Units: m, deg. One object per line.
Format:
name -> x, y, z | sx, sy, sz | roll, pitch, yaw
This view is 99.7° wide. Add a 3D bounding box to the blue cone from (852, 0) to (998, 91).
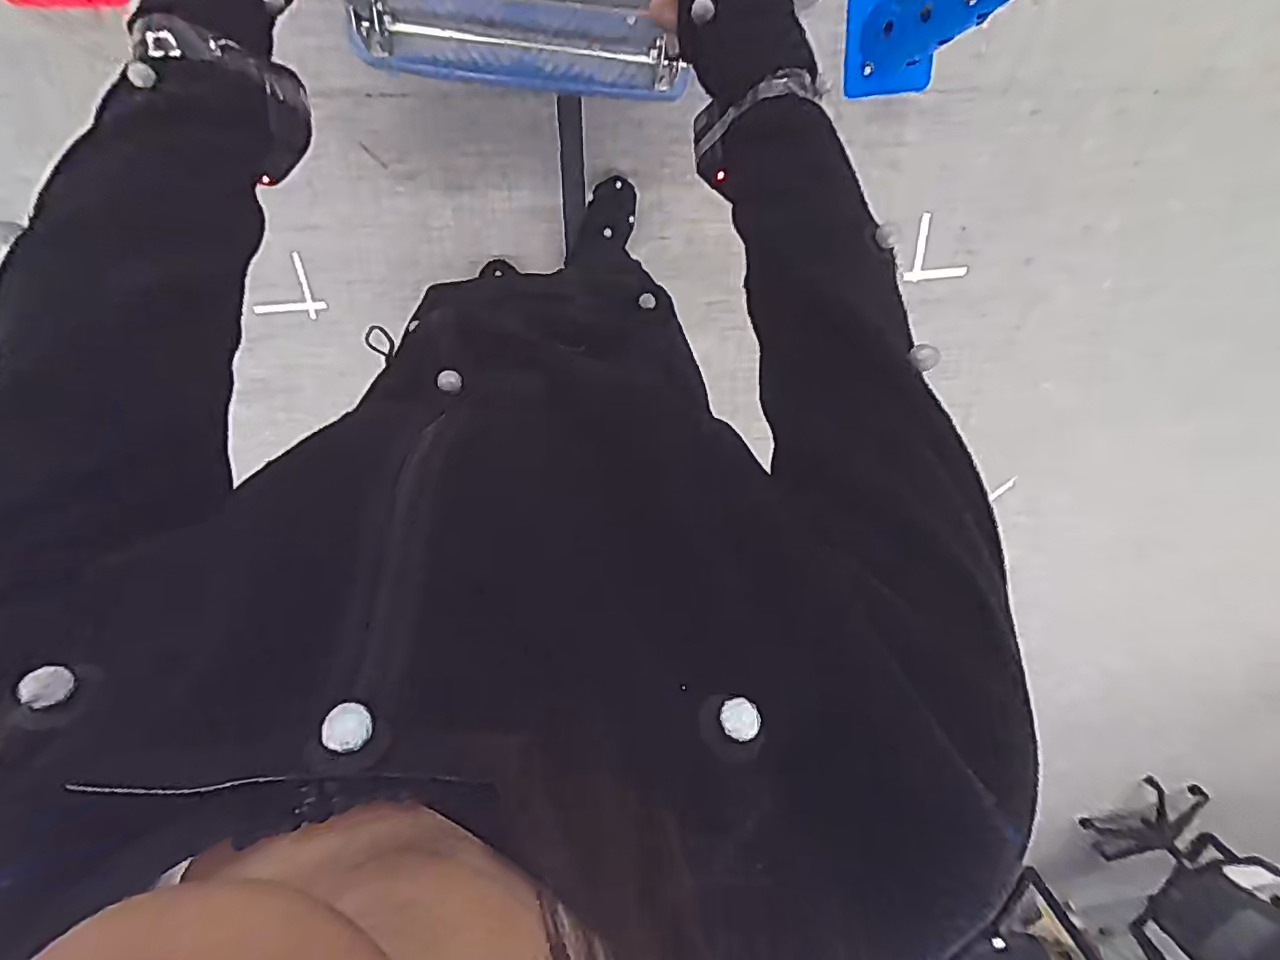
blue cone -> 0.560, -0.863, 0.990 | 0.193, 0.380, 0.192 | -8, 117, -6
